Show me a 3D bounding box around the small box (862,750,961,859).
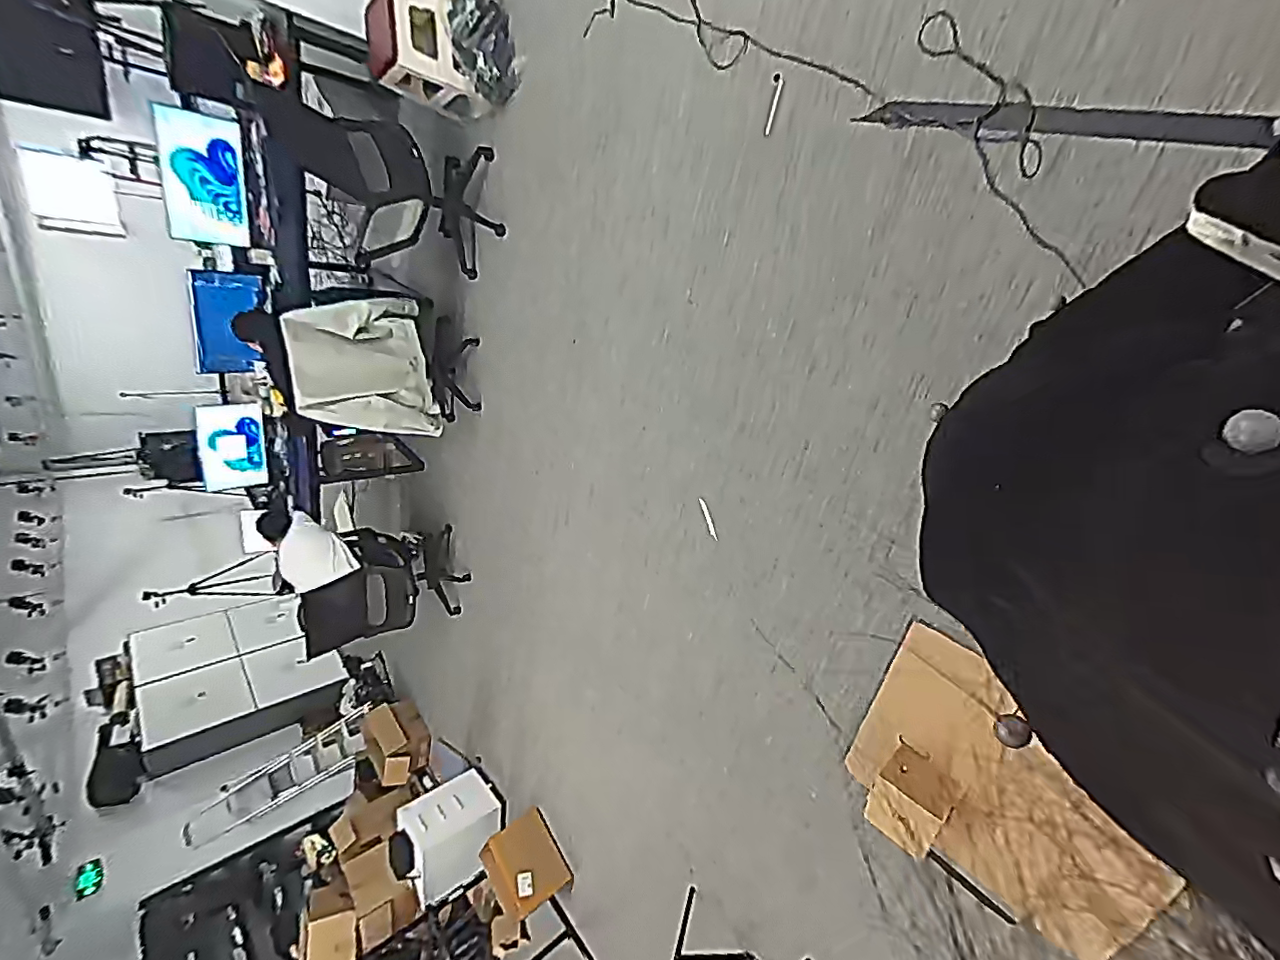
[{"bbox_3d":[0.761,0.895,1.518,0.179,0.176,0.168,27,119,39],"label":"small box"}]
